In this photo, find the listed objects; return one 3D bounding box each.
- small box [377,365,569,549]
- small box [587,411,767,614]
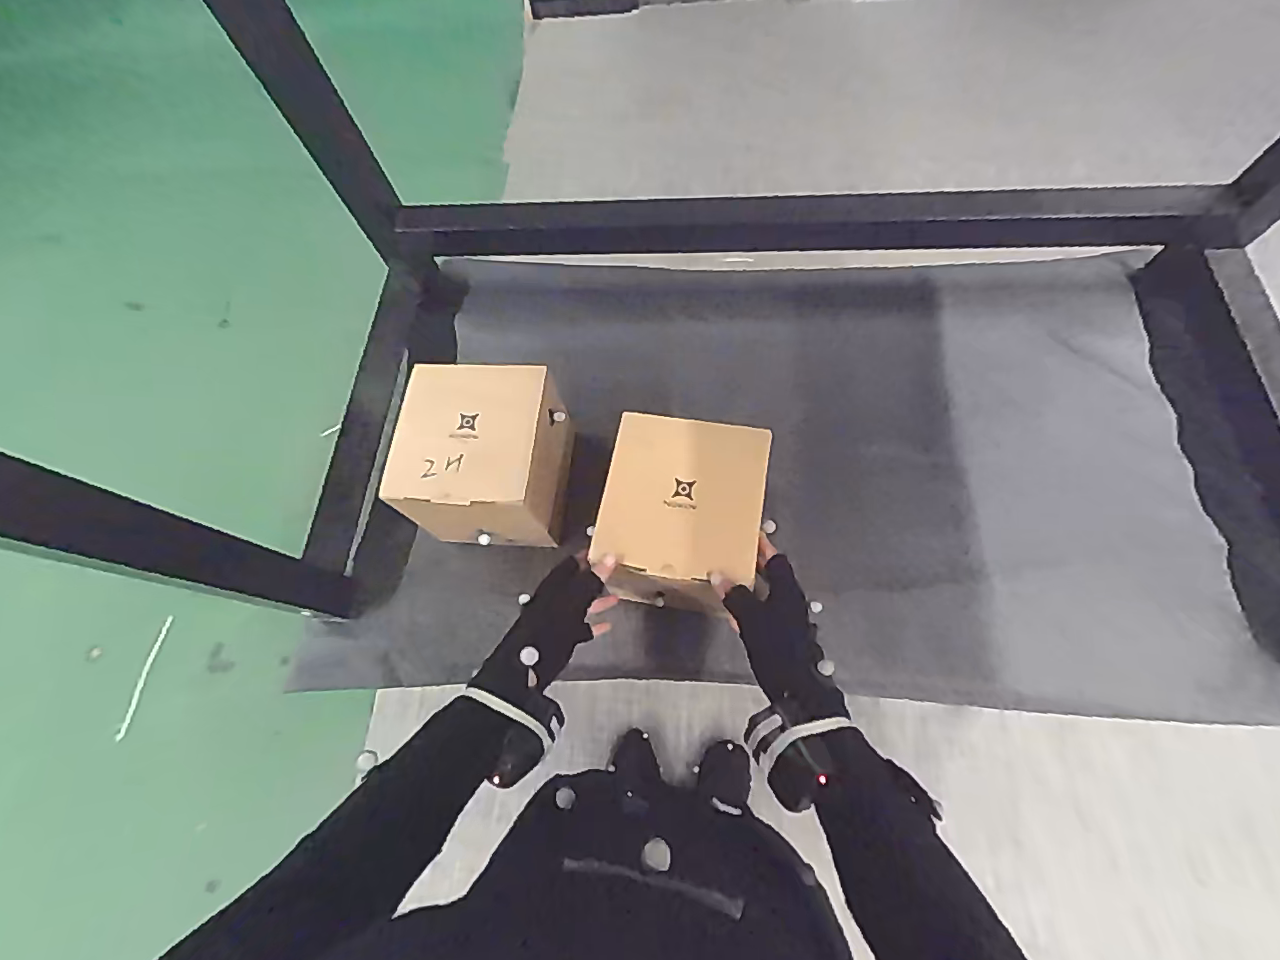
[{"bbox_3d":[-0.191,-0.024,0.683,0.168,0.176,0.179,2,66,7],"label":"small box"},{"bbox_3d":[0.048,0.044,0.631,0.168,0.176,0.179,7,67,10],"label":"small box"}]
